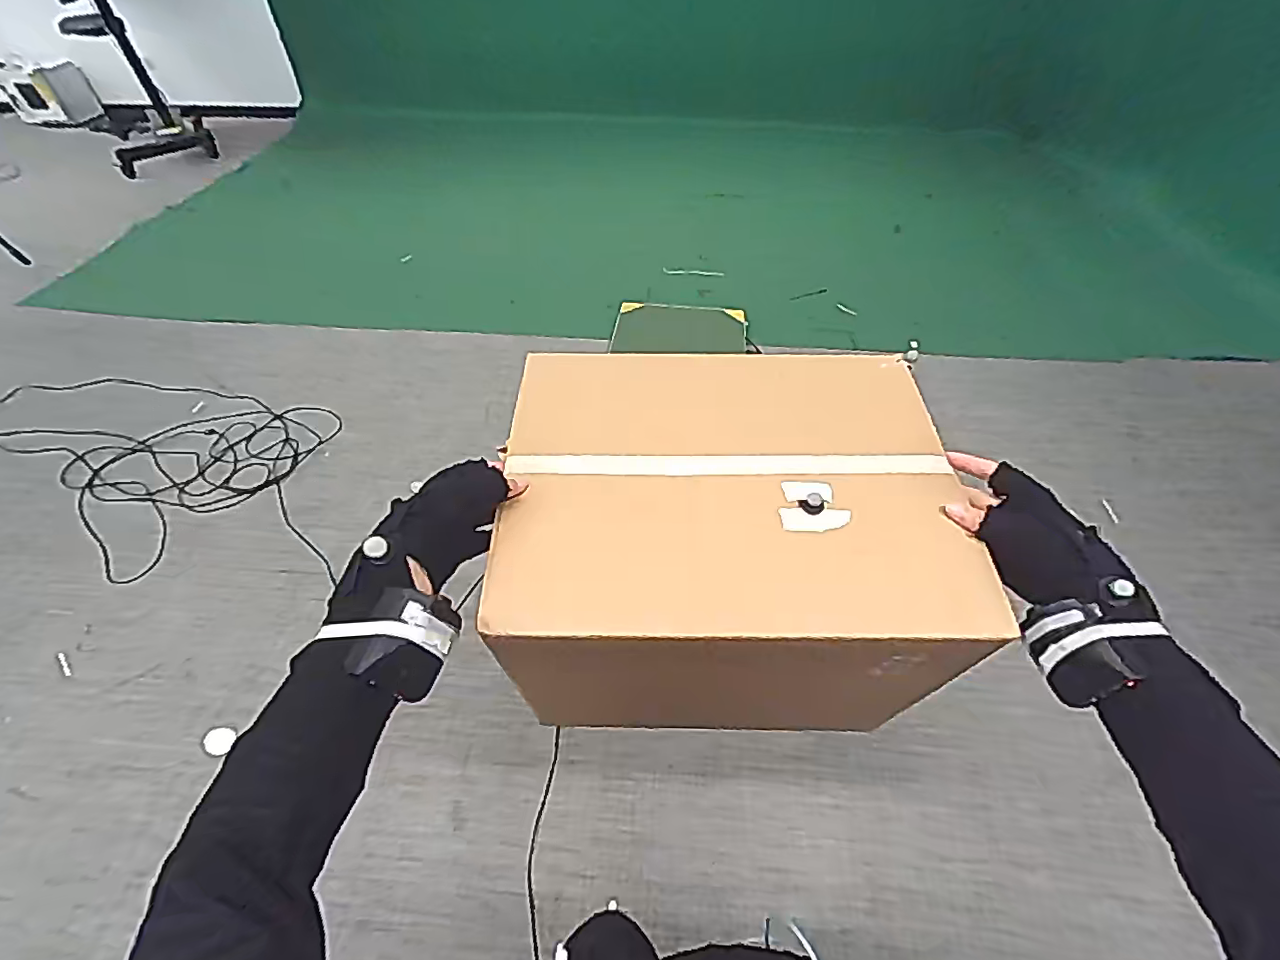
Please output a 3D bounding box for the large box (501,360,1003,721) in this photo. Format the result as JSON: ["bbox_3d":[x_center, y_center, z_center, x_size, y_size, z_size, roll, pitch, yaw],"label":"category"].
[{"bbox_3d":[0.084,0.079,0.626,0.408,0.320,0.320,0,55,-1],"label":"large box"}]
